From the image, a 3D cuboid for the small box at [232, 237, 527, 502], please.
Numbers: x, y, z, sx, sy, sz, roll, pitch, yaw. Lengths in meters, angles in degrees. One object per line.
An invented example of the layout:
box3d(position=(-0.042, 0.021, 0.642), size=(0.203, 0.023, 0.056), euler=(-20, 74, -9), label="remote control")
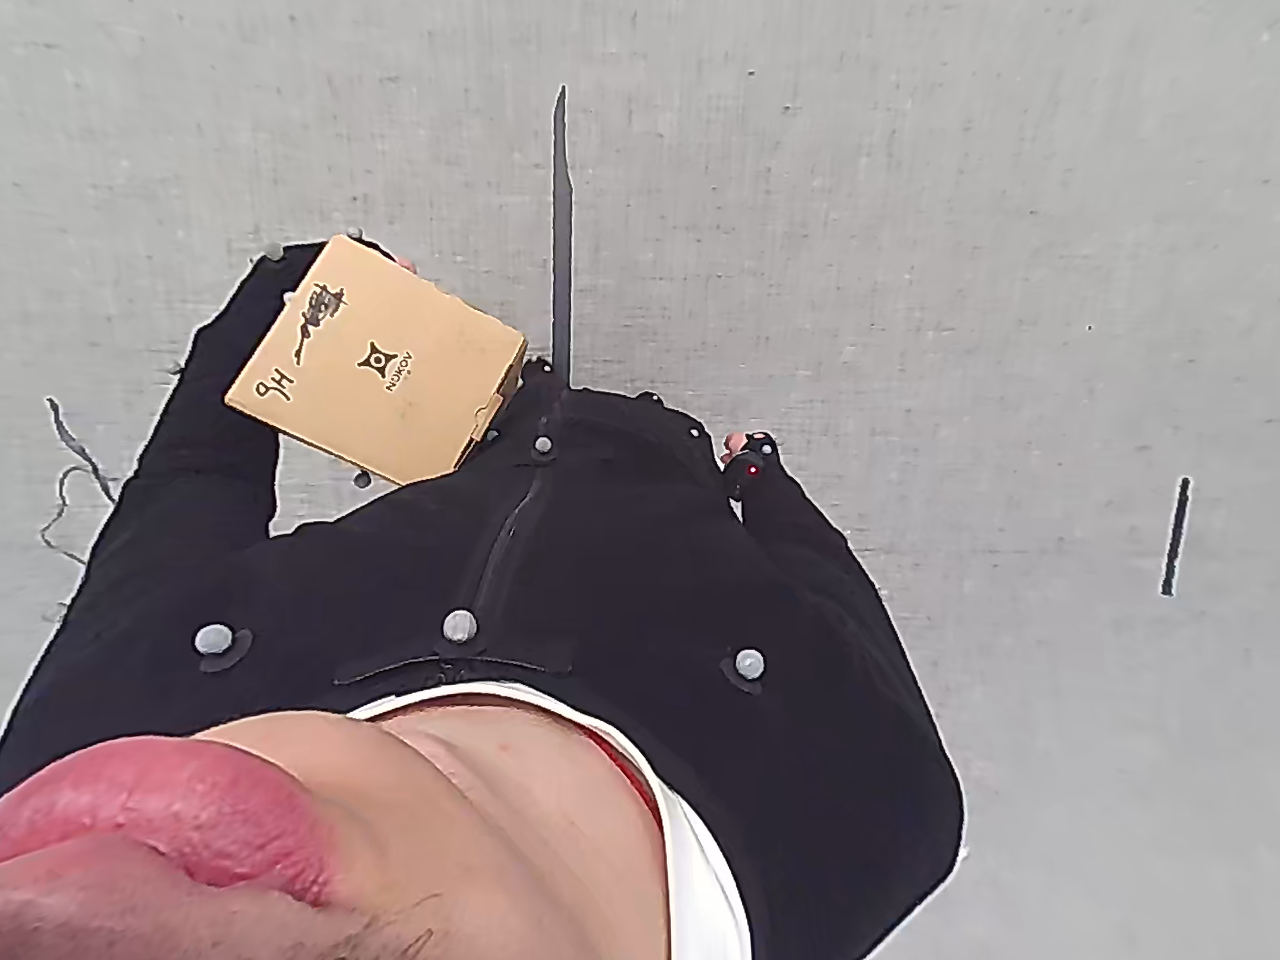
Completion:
box3d(position=(-0.232, -0.087, 0.528), size=(0.179, 0.176, 0.168), euler=(27, 77, -13), label="small box")
